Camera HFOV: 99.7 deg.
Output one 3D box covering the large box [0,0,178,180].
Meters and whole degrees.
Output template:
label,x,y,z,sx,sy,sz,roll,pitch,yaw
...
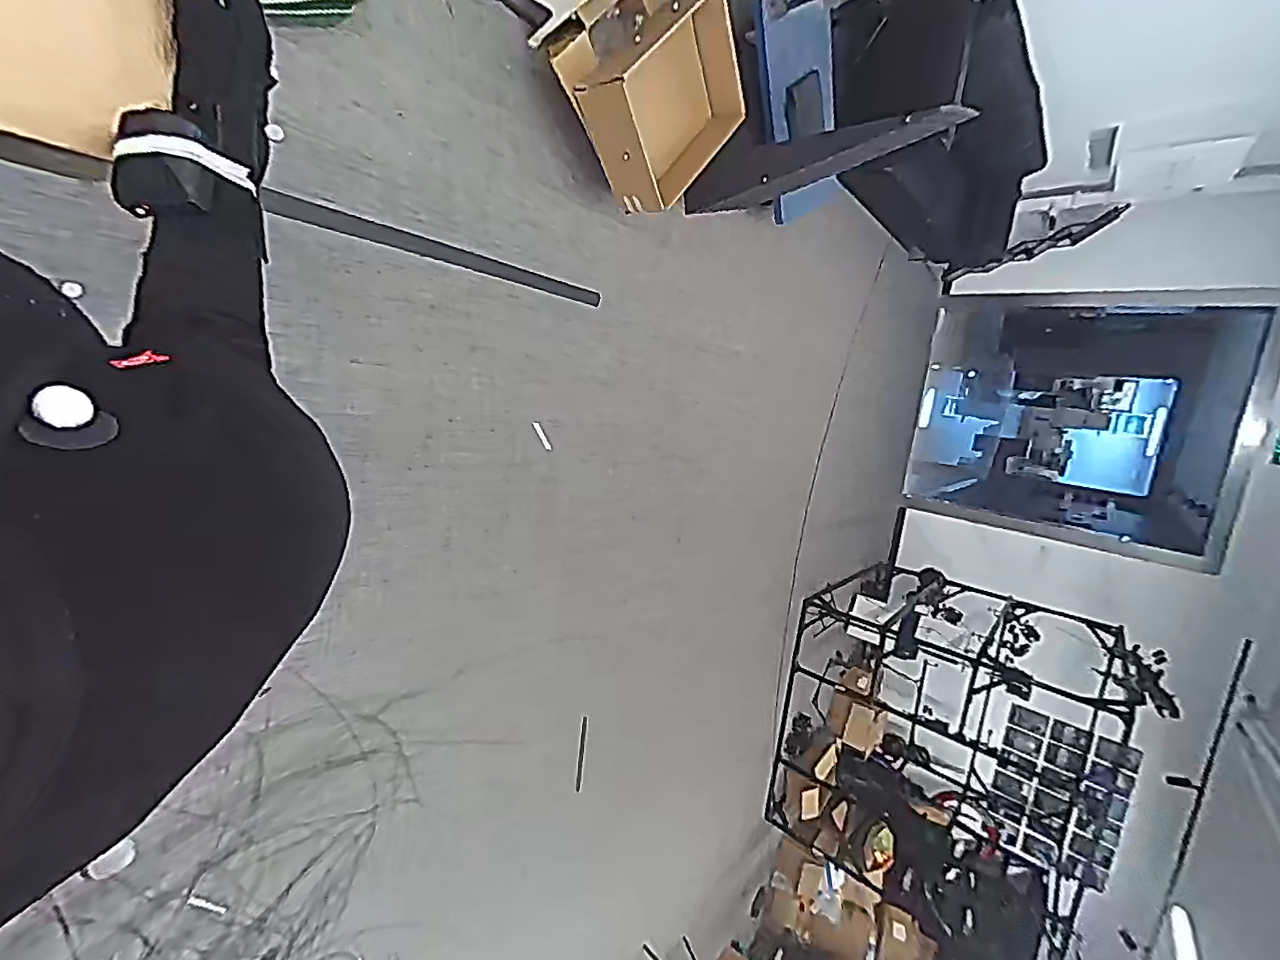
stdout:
label,x,y,z,sx,sy,sz,roll,pitch,yaw
large box,-0.594,-0.419,0.334,0.408,0.320,0.320,-8,115,-54
